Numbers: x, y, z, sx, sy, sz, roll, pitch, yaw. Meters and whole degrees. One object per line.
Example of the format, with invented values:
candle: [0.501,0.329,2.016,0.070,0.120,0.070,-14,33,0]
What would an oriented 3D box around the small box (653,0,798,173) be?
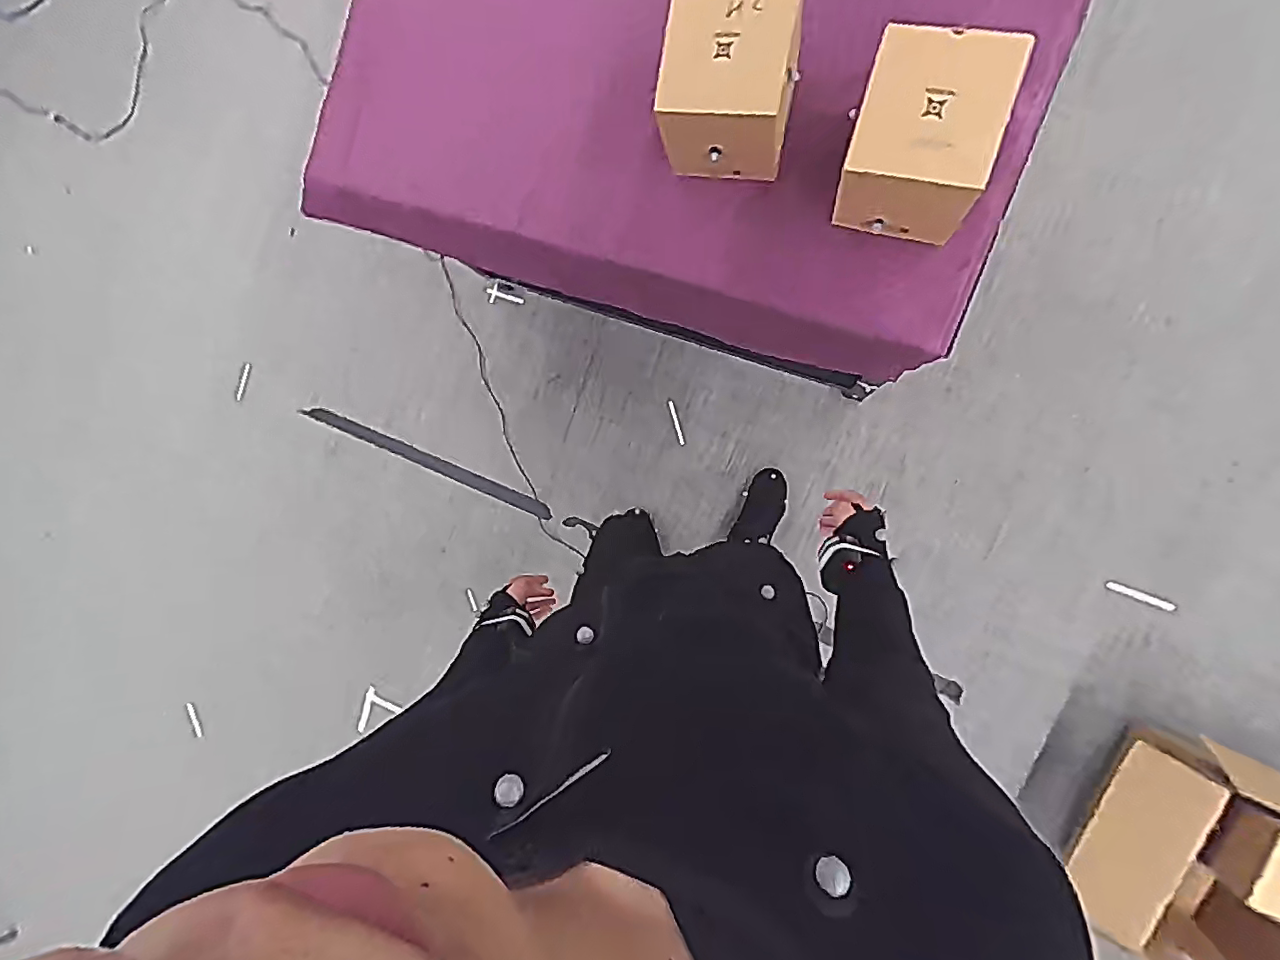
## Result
small box: [0.129,-0.571,0.776,0.168,0.176,0.179,11,94,13]

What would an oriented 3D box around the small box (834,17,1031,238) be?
small box: [0.370,-0.456,0.722,0.168,0.176,0.179,17,95,13]
